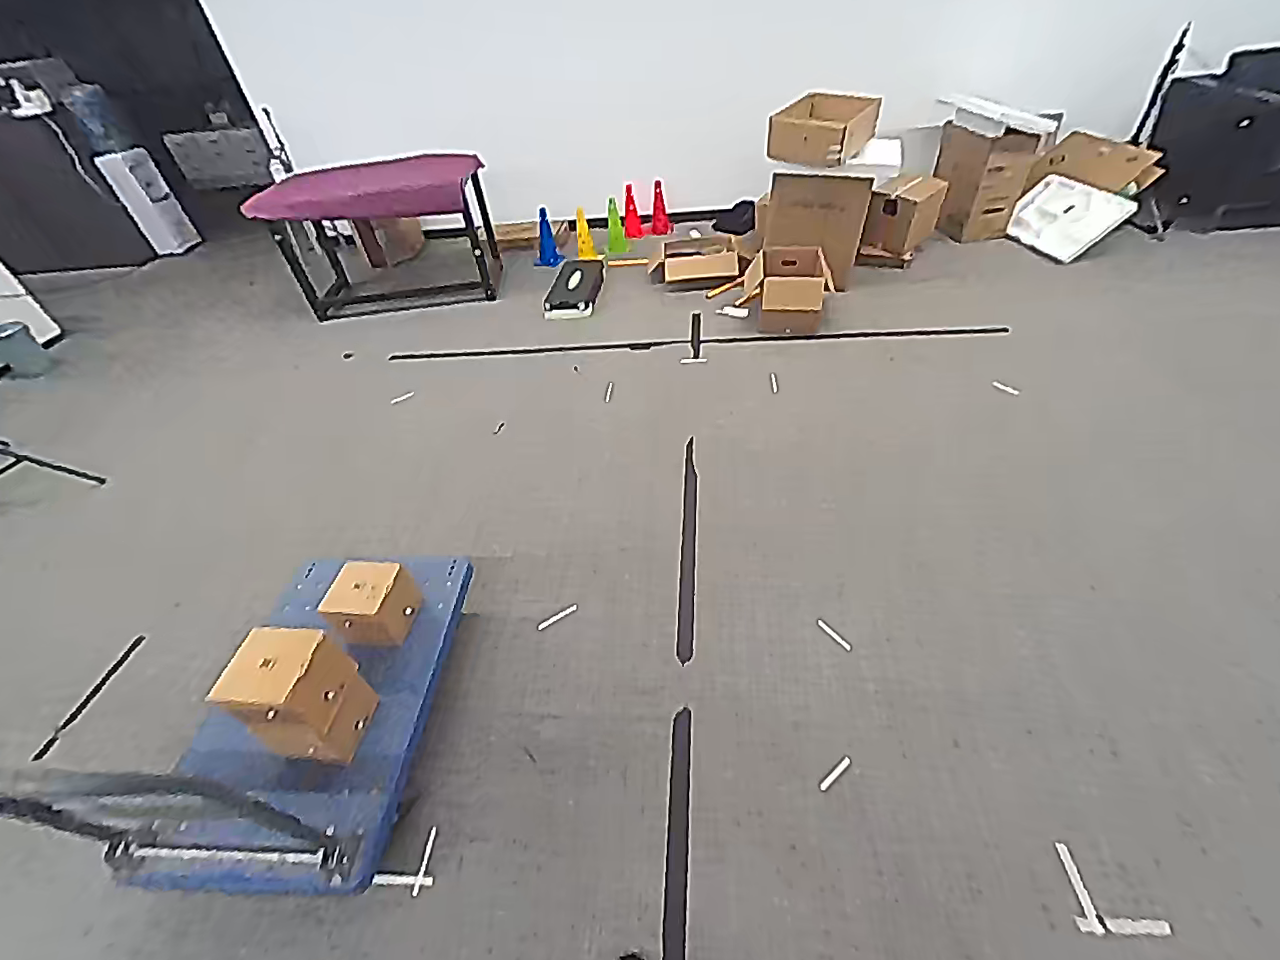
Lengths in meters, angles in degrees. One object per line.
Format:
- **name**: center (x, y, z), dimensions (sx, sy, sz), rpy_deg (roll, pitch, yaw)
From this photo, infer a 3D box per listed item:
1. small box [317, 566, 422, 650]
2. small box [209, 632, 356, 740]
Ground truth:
- **small box**: center (-0.749, 0.361, 1.520), dimensions (0.179, 0.176, 0.168), rpy_deg (1, 44, 8)
- **small box**: center (-0.769, 0.453, 1.185), dimensions (0.179, 0.176, 0.168), rpy_deg (0, 43, 6)
